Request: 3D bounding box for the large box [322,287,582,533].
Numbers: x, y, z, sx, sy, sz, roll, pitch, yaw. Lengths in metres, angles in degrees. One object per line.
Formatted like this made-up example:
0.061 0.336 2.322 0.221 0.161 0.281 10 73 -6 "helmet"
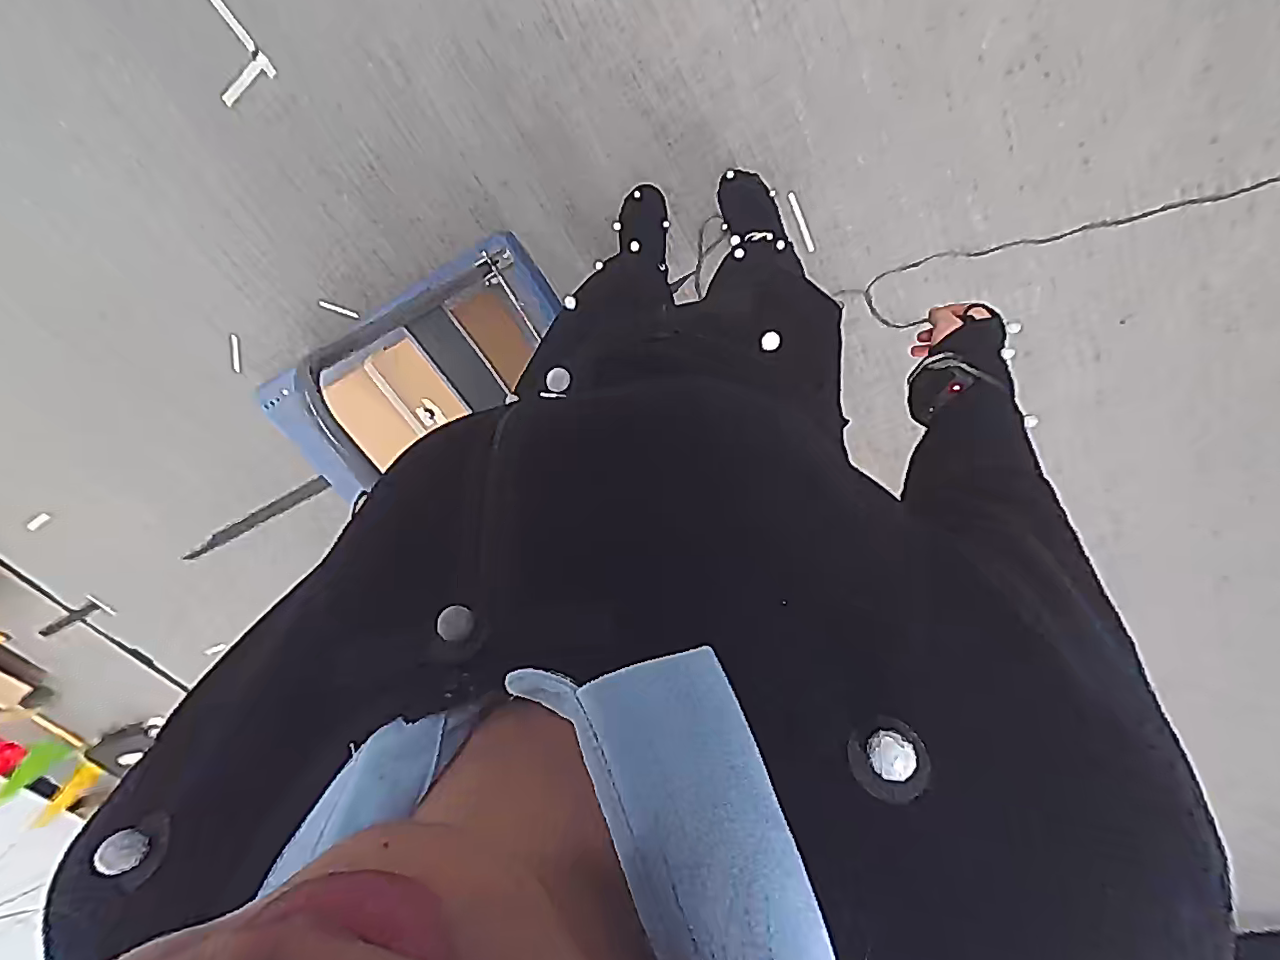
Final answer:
-0.388 -0.157 1.227 0.320 0.320 0.408 -22 116 20 "large box"
